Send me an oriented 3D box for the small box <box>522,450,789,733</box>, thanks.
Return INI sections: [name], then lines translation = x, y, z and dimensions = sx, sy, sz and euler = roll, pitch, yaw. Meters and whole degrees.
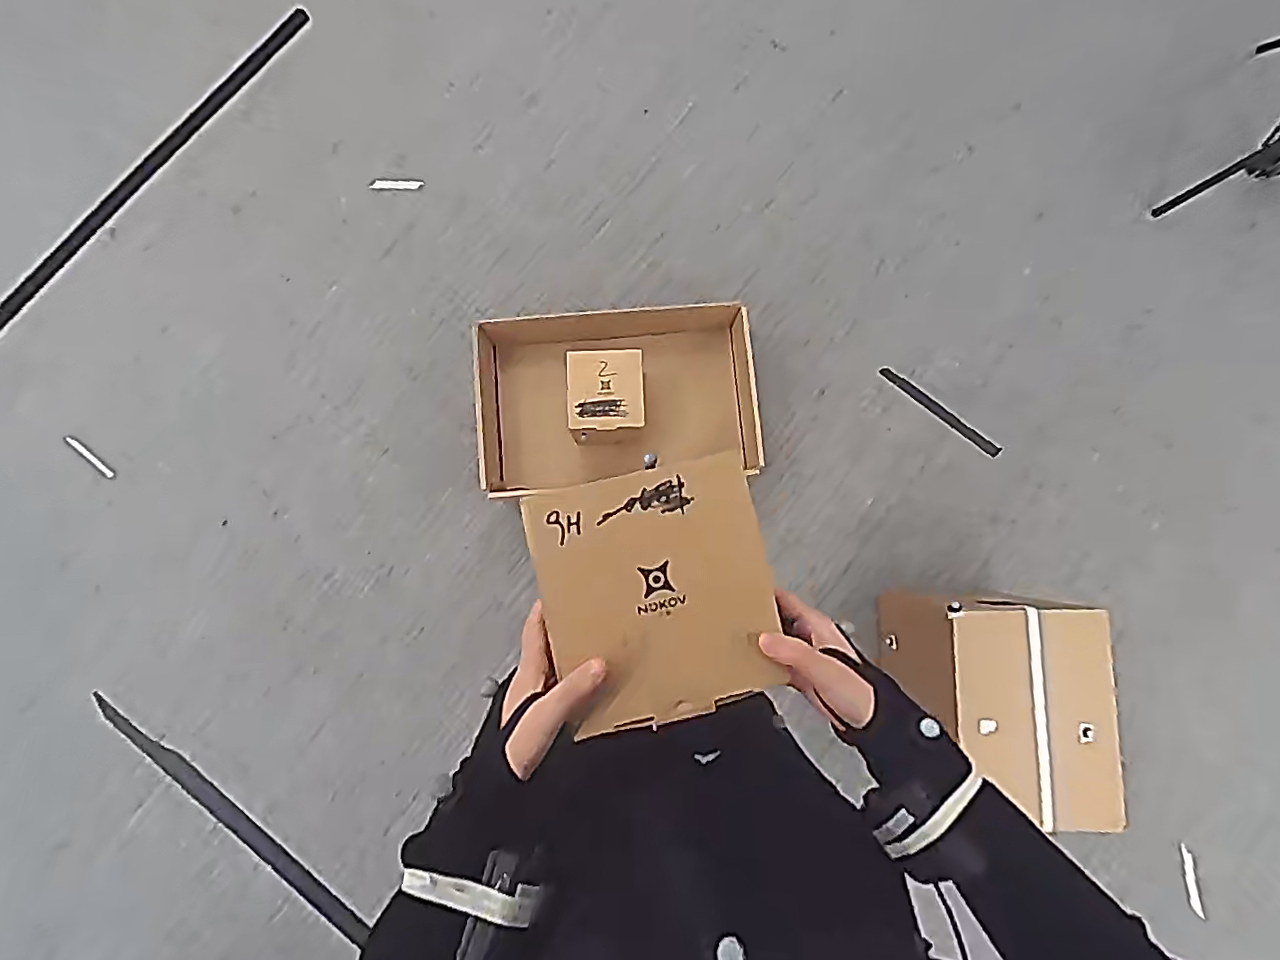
[small box]
translation = 0.006, 0.080, 0.466
dimensions = 0.168, 0.176, 0.179
euler = -13, 88, -6
